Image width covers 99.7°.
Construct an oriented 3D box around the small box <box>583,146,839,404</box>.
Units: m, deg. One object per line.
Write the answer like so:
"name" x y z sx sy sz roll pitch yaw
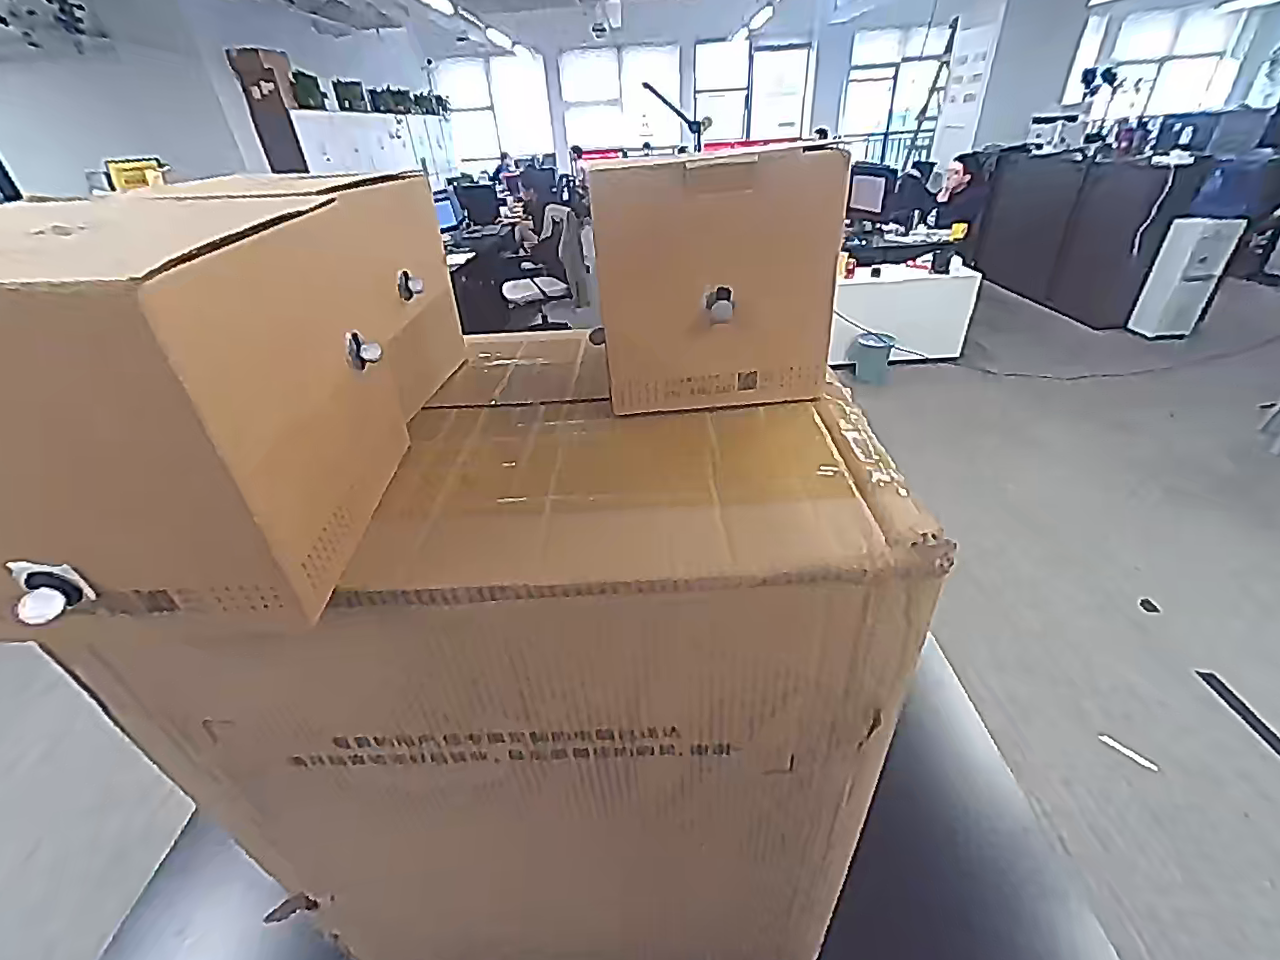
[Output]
"small box" 0.048 -0.169 0.448 0.168 0.176 0.179 -5 32 -1
